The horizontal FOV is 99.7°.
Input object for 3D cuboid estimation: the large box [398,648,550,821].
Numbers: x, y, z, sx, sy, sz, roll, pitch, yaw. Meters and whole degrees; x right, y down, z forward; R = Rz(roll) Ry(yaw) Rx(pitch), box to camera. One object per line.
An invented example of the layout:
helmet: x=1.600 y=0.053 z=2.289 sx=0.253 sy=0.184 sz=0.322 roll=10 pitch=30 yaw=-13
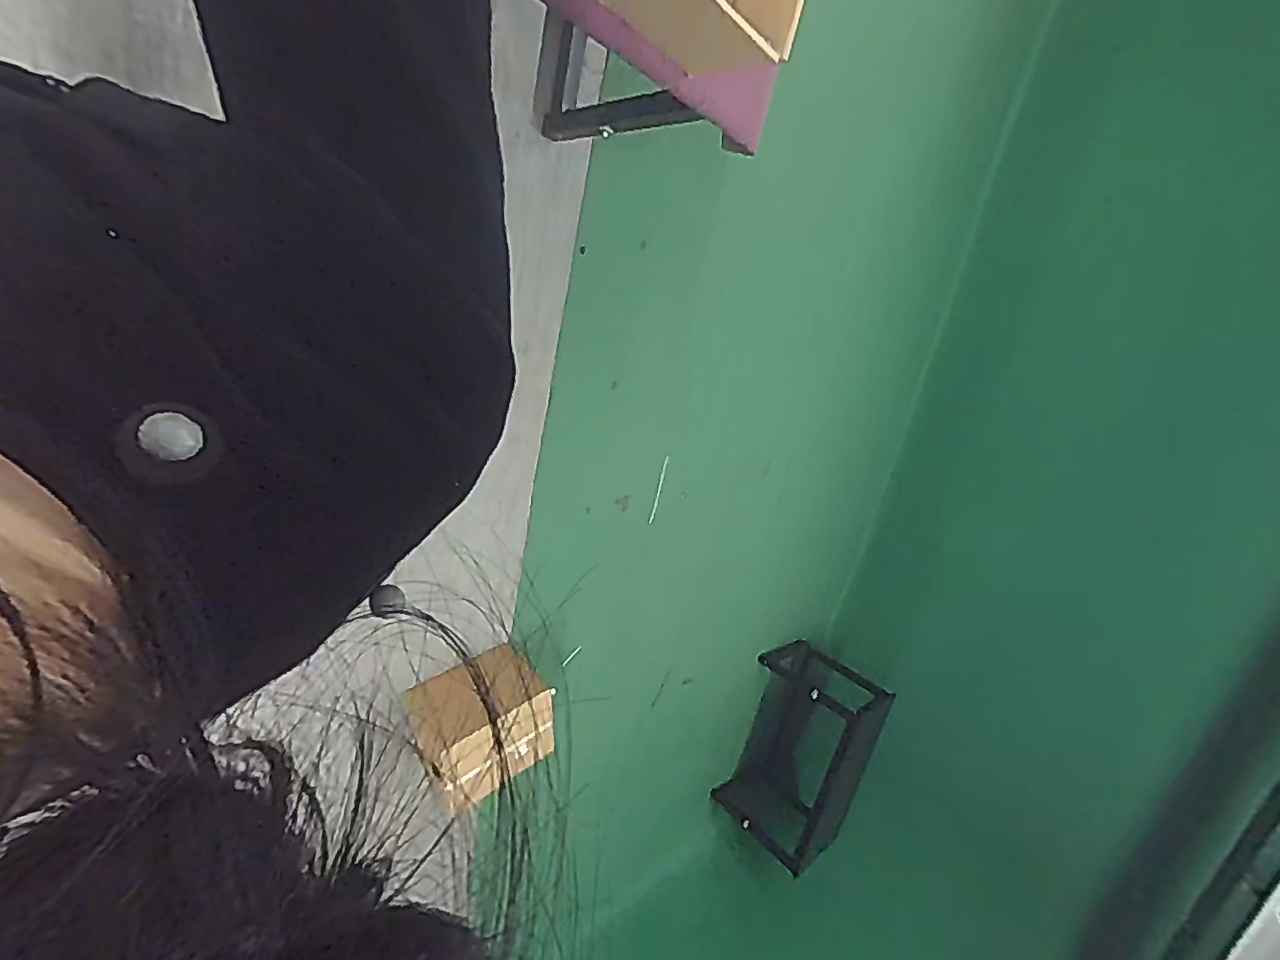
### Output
large box: x=-0.576 y=0.873 z=1.910 sx=0.408 sy=0.320 sz=0.320 roll=-20 pitch=123 yaw=-39
